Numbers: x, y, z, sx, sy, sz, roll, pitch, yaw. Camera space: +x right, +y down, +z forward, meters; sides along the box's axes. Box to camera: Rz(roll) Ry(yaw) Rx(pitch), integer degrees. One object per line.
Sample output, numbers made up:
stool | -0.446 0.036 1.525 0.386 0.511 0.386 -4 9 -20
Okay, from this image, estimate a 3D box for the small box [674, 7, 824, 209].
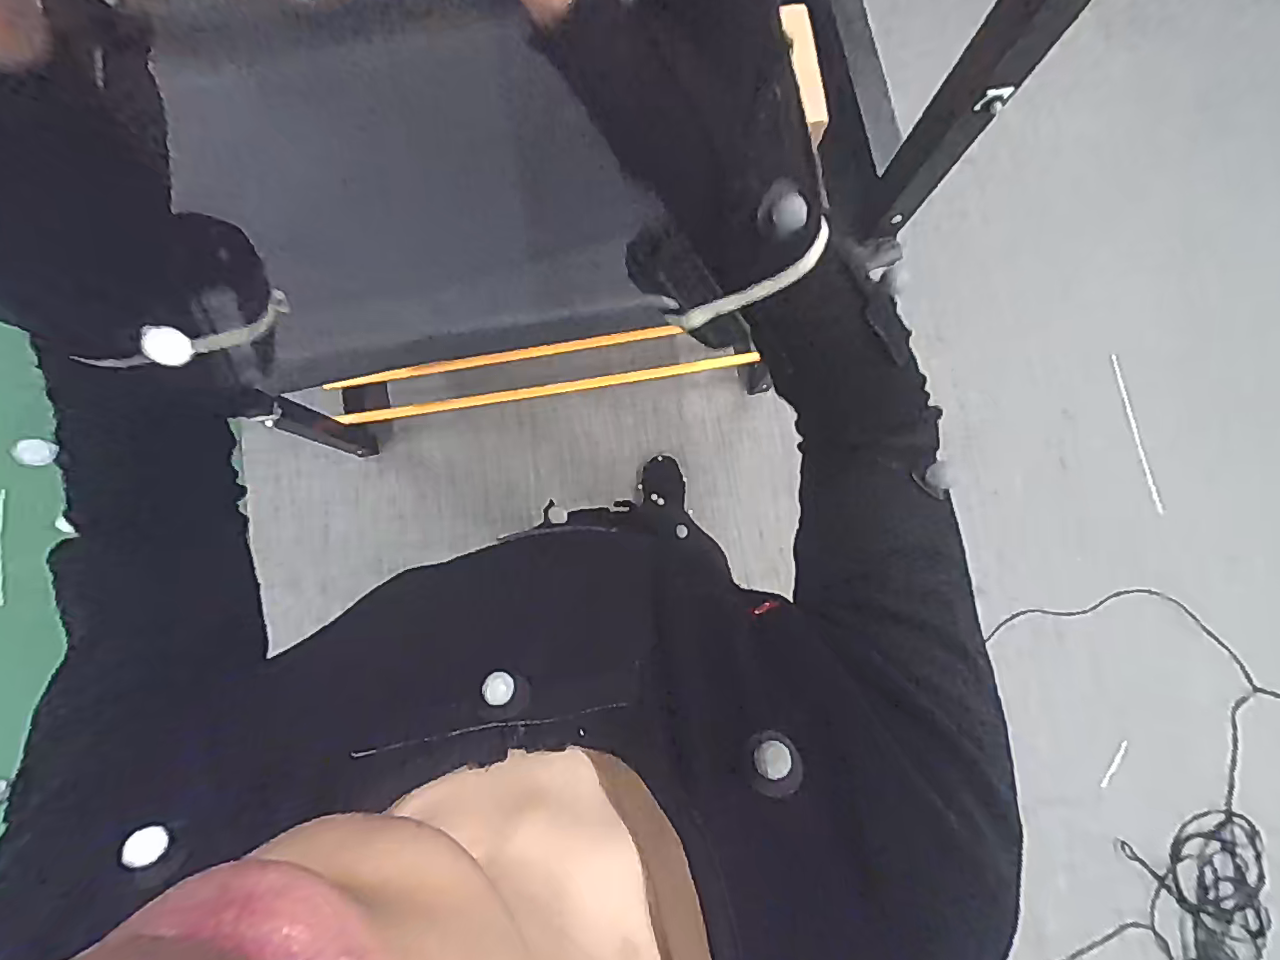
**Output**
small box | 0.143 -0.512 0.771 0.168 0.176 0.179 -6 81 -2
